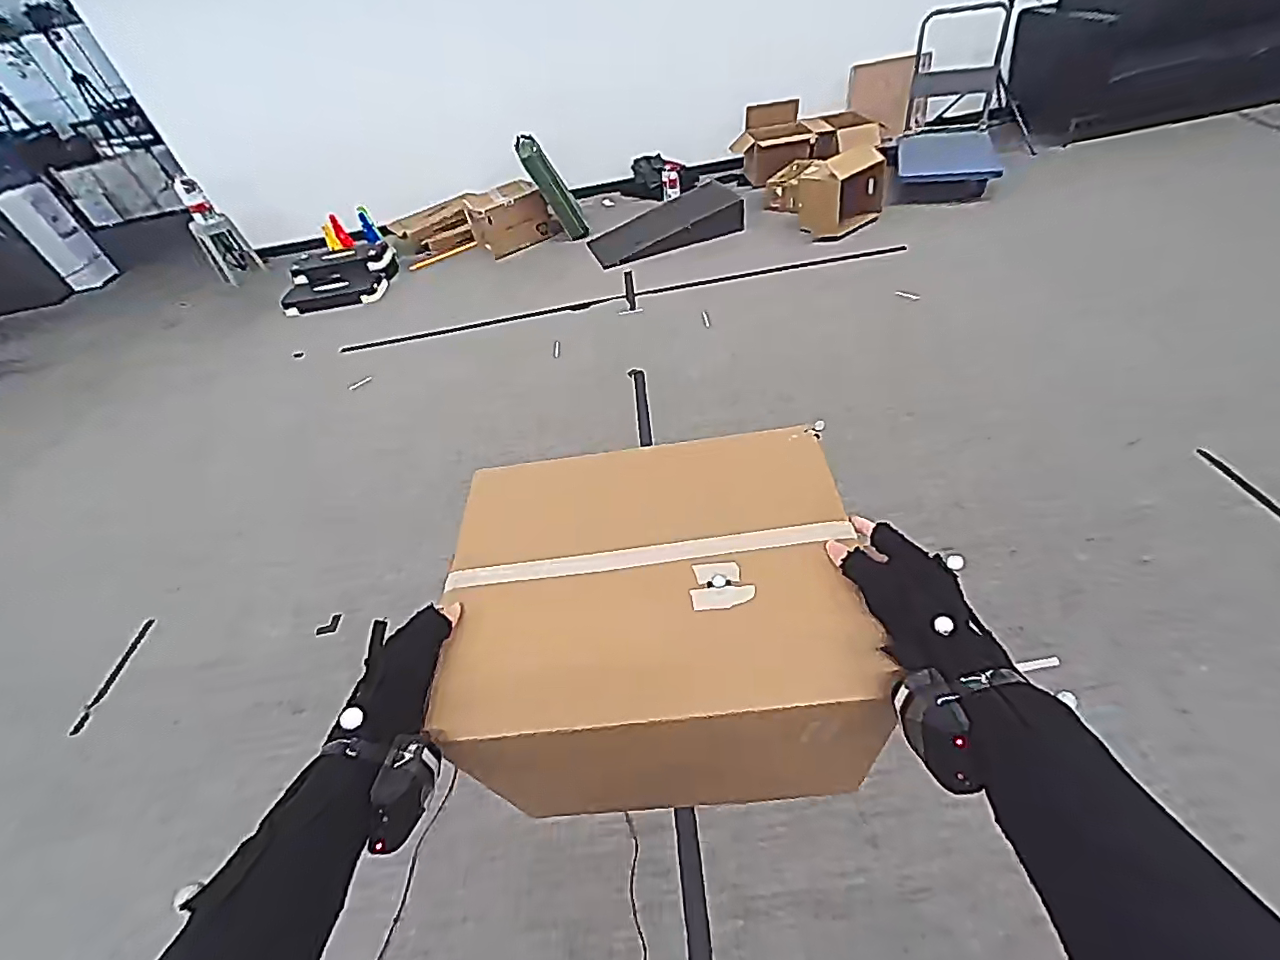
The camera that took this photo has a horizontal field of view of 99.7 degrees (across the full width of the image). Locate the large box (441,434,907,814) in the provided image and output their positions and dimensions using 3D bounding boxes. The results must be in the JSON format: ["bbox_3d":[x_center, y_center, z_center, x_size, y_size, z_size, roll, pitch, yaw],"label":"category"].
[{"bbox_3d":[0.033,0.182,0.658,0.408,0.320,0.320,-7,48,3],"label":"large box"}]
